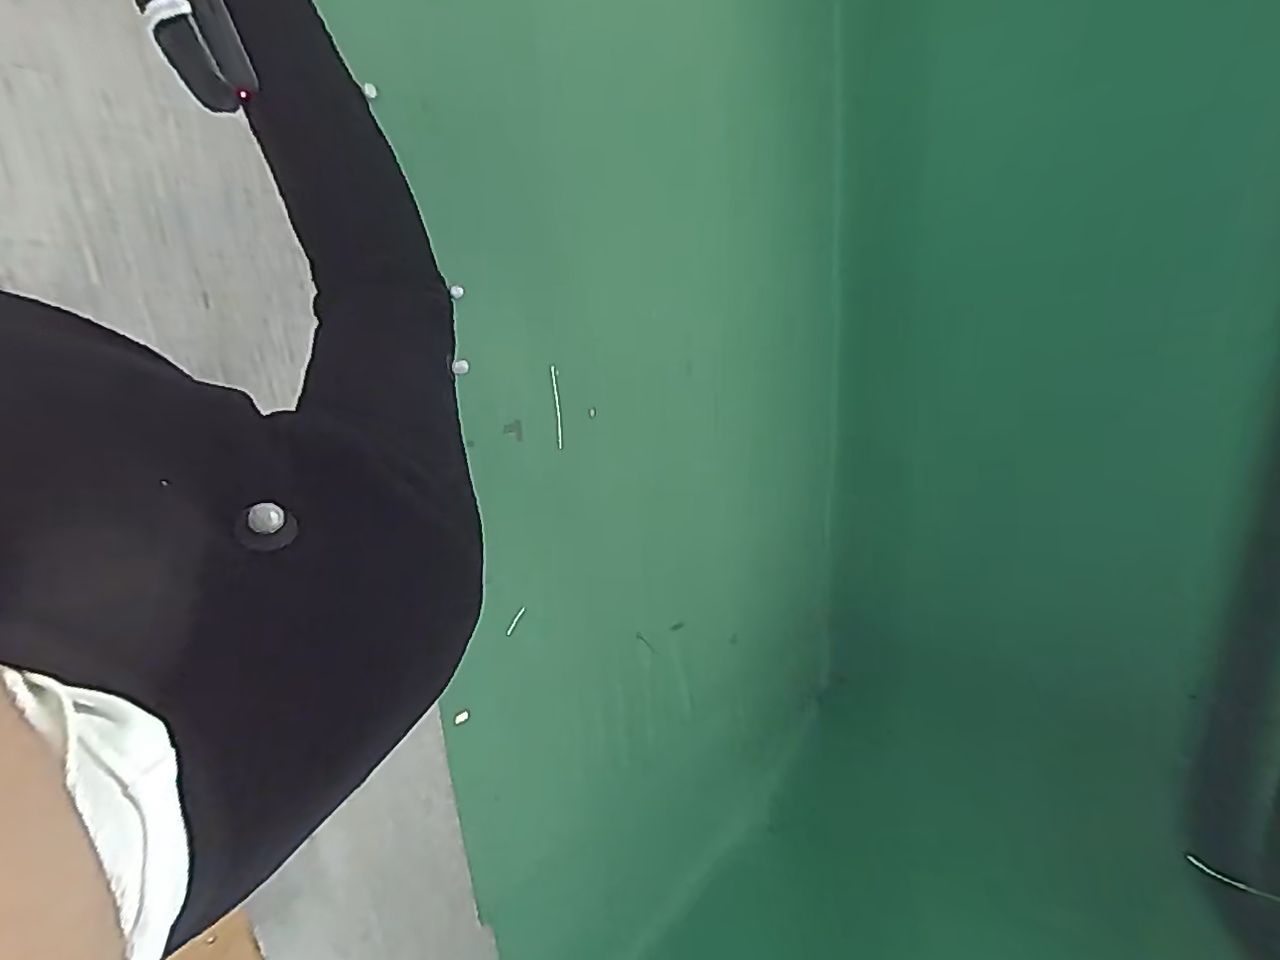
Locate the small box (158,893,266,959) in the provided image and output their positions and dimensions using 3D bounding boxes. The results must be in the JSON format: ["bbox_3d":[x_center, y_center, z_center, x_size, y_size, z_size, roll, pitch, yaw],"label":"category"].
[{"bbox_3d":[-1.076,1.212,1.368,0.179,0.176,0.168,-20,111,-43],"label":"small box"}]

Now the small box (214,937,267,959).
[{"bbox_3d":[-0.953,1.230,1.261,0.168,0.176,0.179,-24,113,-43],"label":"small box"}]
